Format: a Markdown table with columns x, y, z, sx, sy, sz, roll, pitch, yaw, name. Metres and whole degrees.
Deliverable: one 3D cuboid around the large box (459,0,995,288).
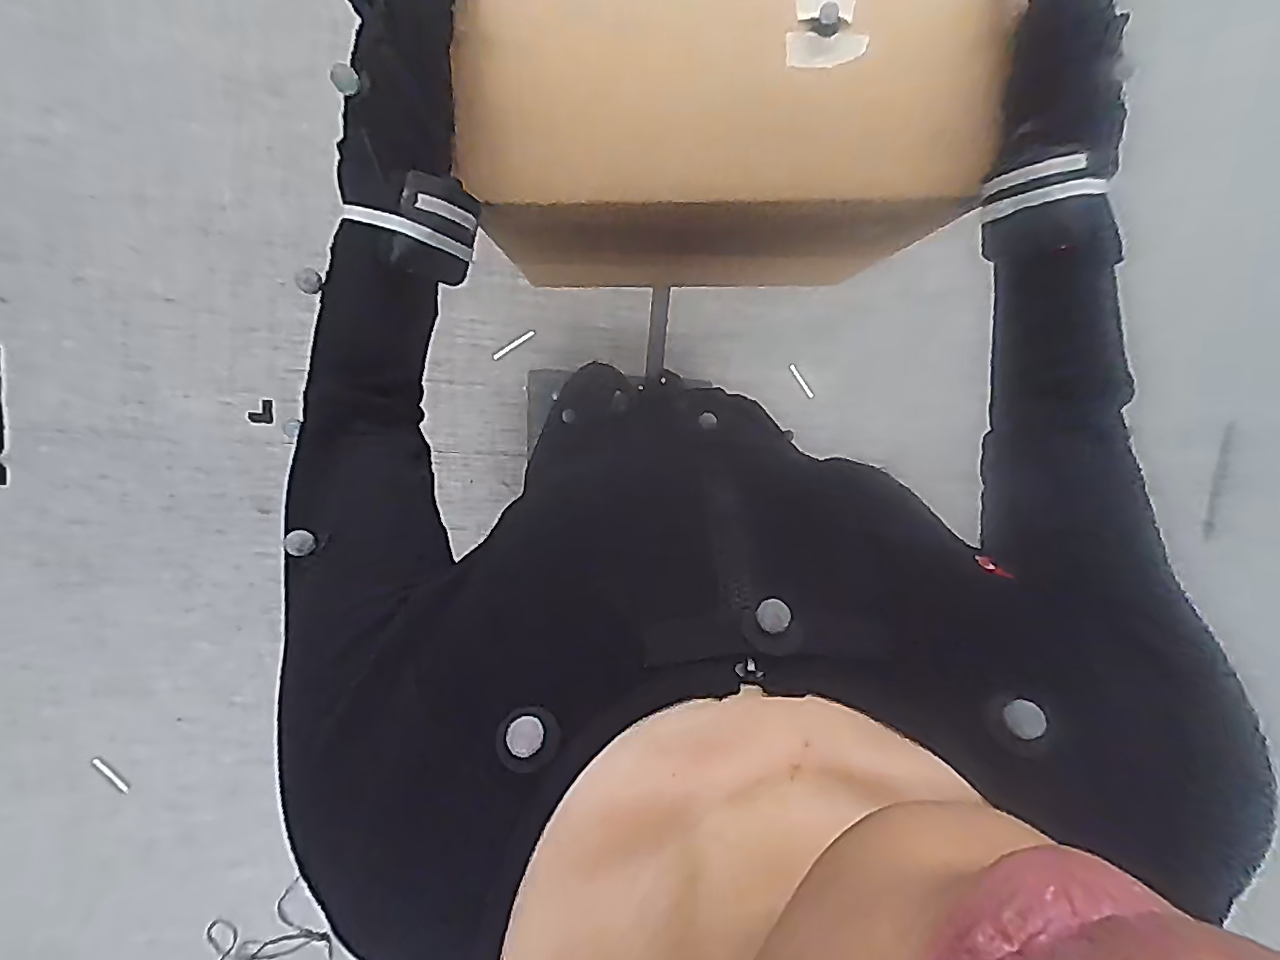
| x | y | z | sx | sy | sz | roll | pitch | yaw | name |
| --- | --- | --- | --- | --- | --- | --- | --- | --- | --- |
| 0.060 | -0.389 | 0.542 | 0.408 | 0.320 | 0.320 | -1 | 99 | -1 | large box |
